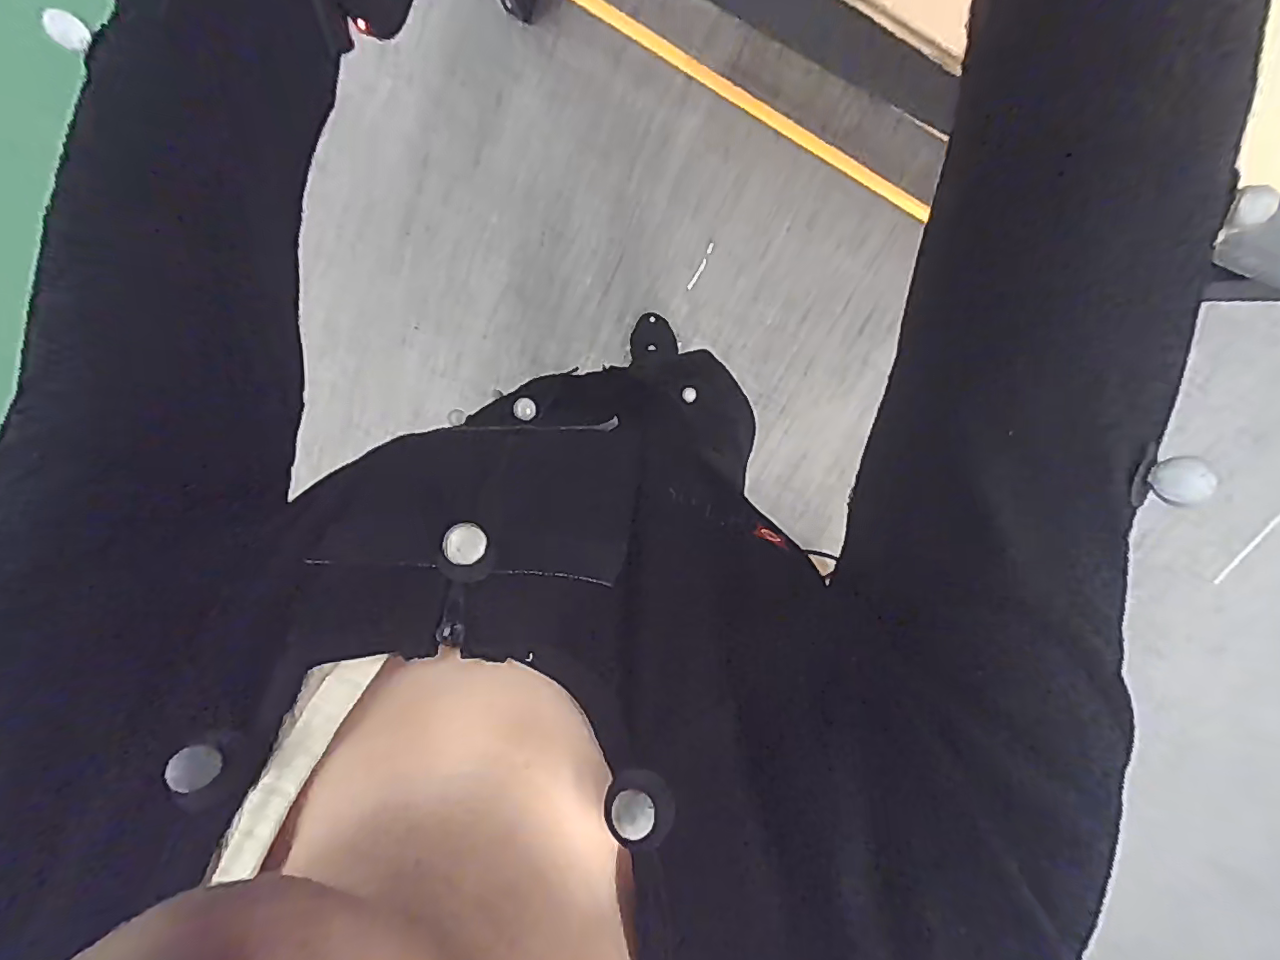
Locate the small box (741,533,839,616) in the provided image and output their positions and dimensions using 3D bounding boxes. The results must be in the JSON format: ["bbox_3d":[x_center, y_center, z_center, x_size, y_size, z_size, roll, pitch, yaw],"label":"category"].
[{"bbox_3d":[0.369,0.258,1.373,0.168,0.176,0.179,22,108,-3],"label":"small box"}]
